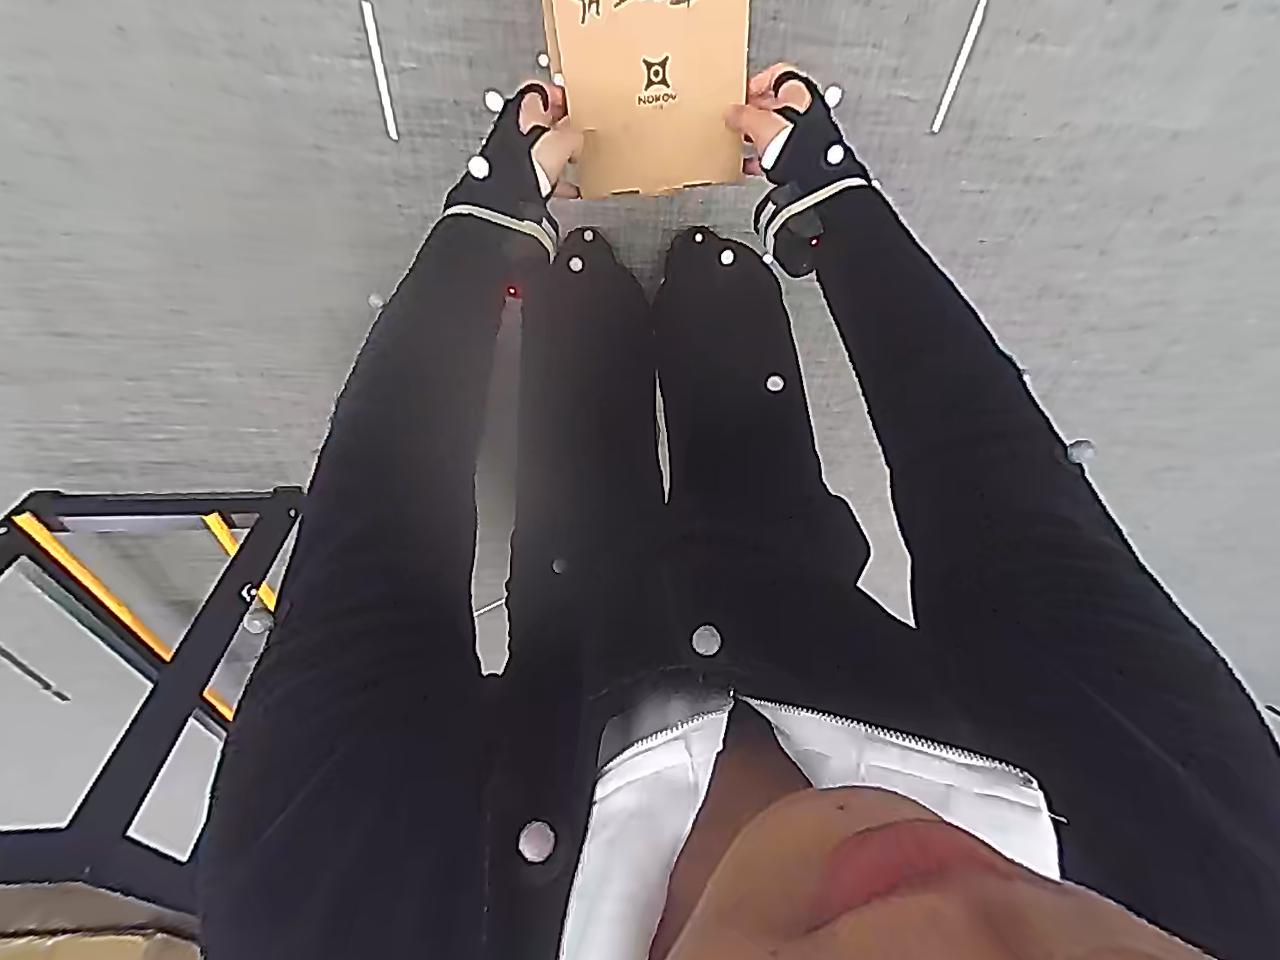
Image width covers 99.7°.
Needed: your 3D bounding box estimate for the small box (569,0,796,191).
[{"bbox_3d":[0.029,-0.375,0.465,0.168,0.176,0.179,-7,133,0],"label":"small box"}]
